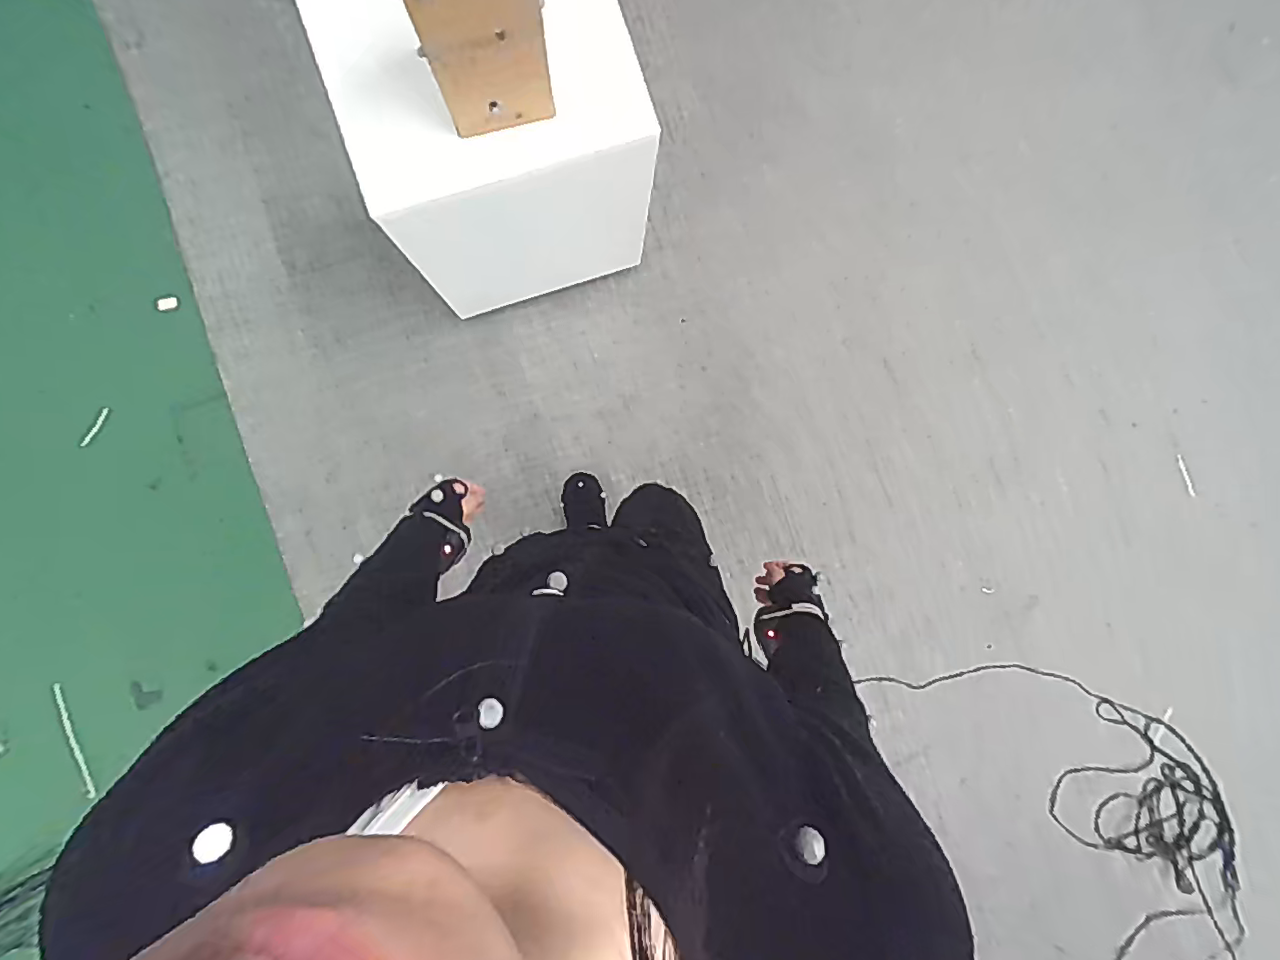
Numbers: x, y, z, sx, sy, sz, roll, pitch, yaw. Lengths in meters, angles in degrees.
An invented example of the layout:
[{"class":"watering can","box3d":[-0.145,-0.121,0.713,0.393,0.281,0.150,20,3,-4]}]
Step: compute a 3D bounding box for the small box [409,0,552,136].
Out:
[{"class":"small box","box3d":[-0.238,-0.665,0.809,0.168,0.176,0.179,-17,90,-4]}]
